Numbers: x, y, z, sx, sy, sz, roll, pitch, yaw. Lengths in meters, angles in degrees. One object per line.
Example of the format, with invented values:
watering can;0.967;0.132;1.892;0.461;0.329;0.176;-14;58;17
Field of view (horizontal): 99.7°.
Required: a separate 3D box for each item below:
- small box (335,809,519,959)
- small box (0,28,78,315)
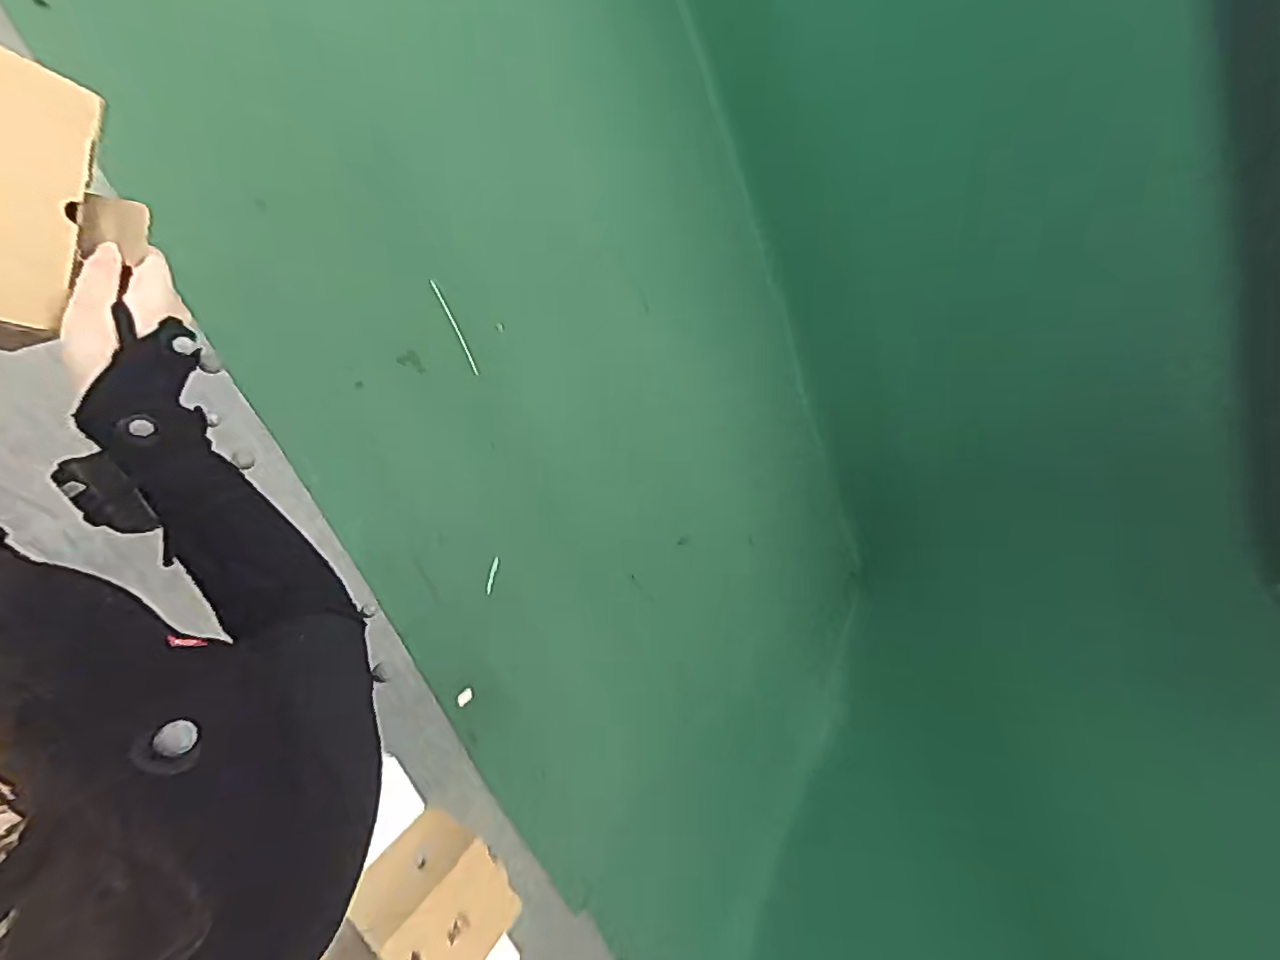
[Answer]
small box;-0.329;0.657;0.842;0.179;0.176;0.168;-39;112;-45
small box;-0.490;-0.201;0.320;0.179;0.176;0.168;9;86;-59
